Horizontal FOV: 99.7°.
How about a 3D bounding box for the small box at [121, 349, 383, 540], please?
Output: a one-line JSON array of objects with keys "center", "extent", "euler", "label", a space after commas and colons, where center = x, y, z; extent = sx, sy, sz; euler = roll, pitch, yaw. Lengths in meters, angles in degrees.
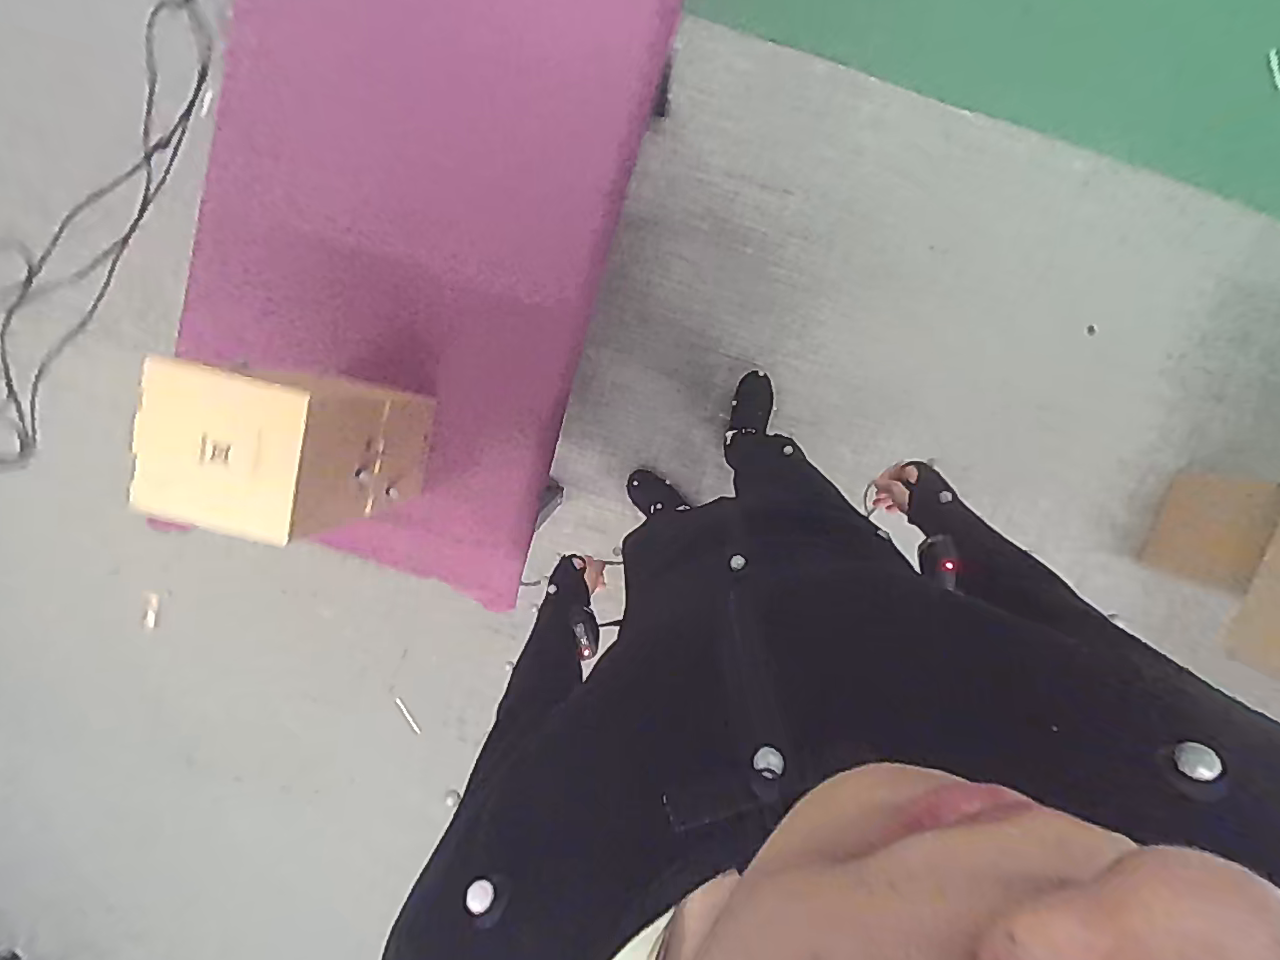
[{"center": [-0.439, -0.044, 0.636], "extent": [0.179, 0.176, 0.168], "euler": [14, 98, -1], "label": "small box"}]
